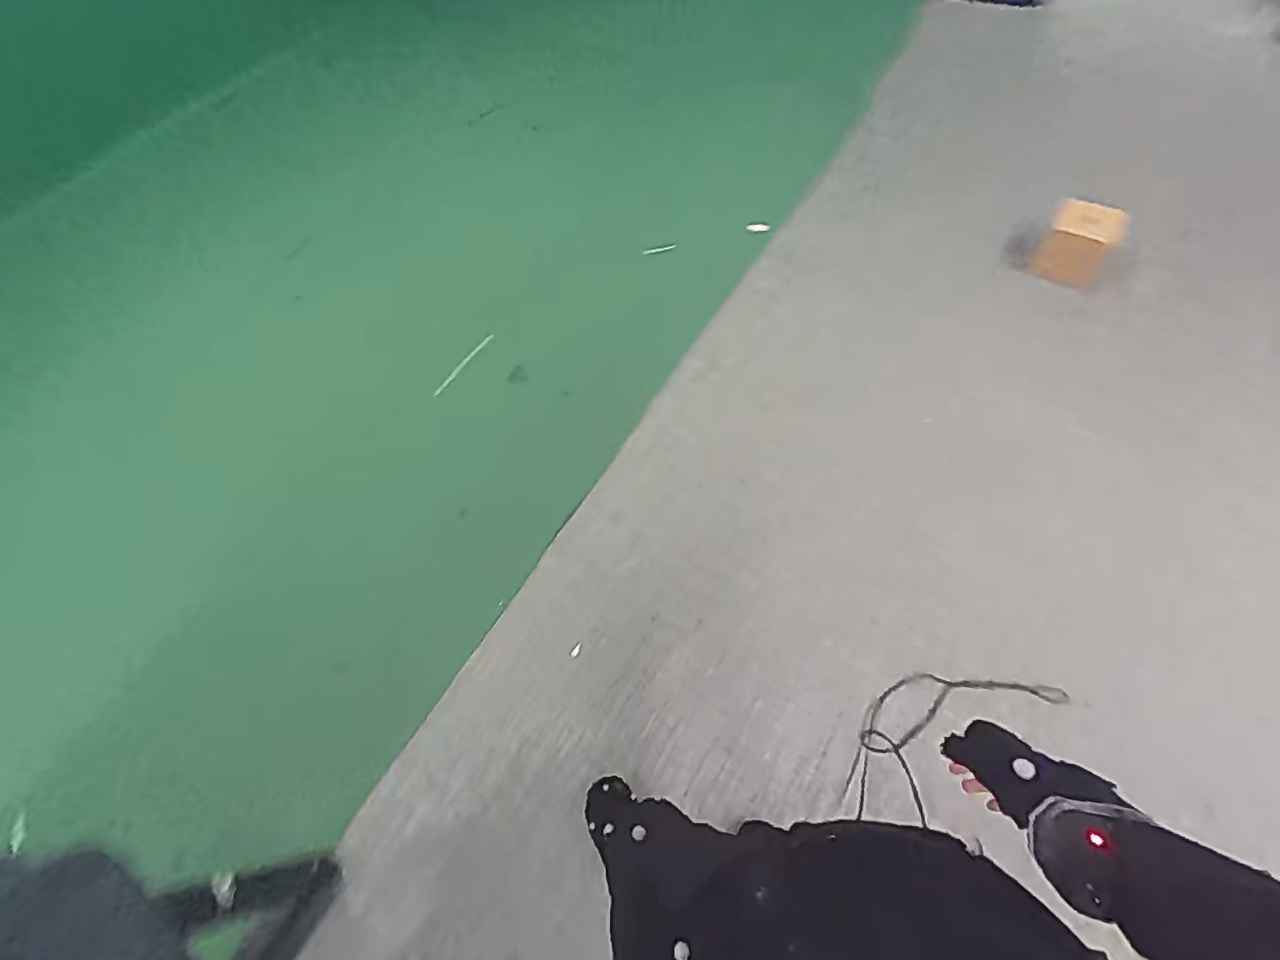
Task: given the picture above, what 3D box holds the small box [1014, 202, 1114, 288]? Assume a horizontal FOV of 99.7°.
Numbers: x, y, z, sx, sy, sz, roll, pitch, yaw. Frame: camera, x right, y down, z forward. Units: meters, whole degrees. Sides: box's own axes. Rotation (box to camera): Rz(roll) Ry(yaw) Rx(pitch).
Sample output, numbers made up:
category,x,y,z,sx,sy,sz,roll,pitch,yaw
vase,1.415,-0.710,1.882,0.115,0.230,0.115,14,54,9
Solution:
category,x,y,z,sx,sy,sz,roll,pitch,yaw
small box,1.338,-0.741,1.715,0.179,0.176,0.168,26,67,21
